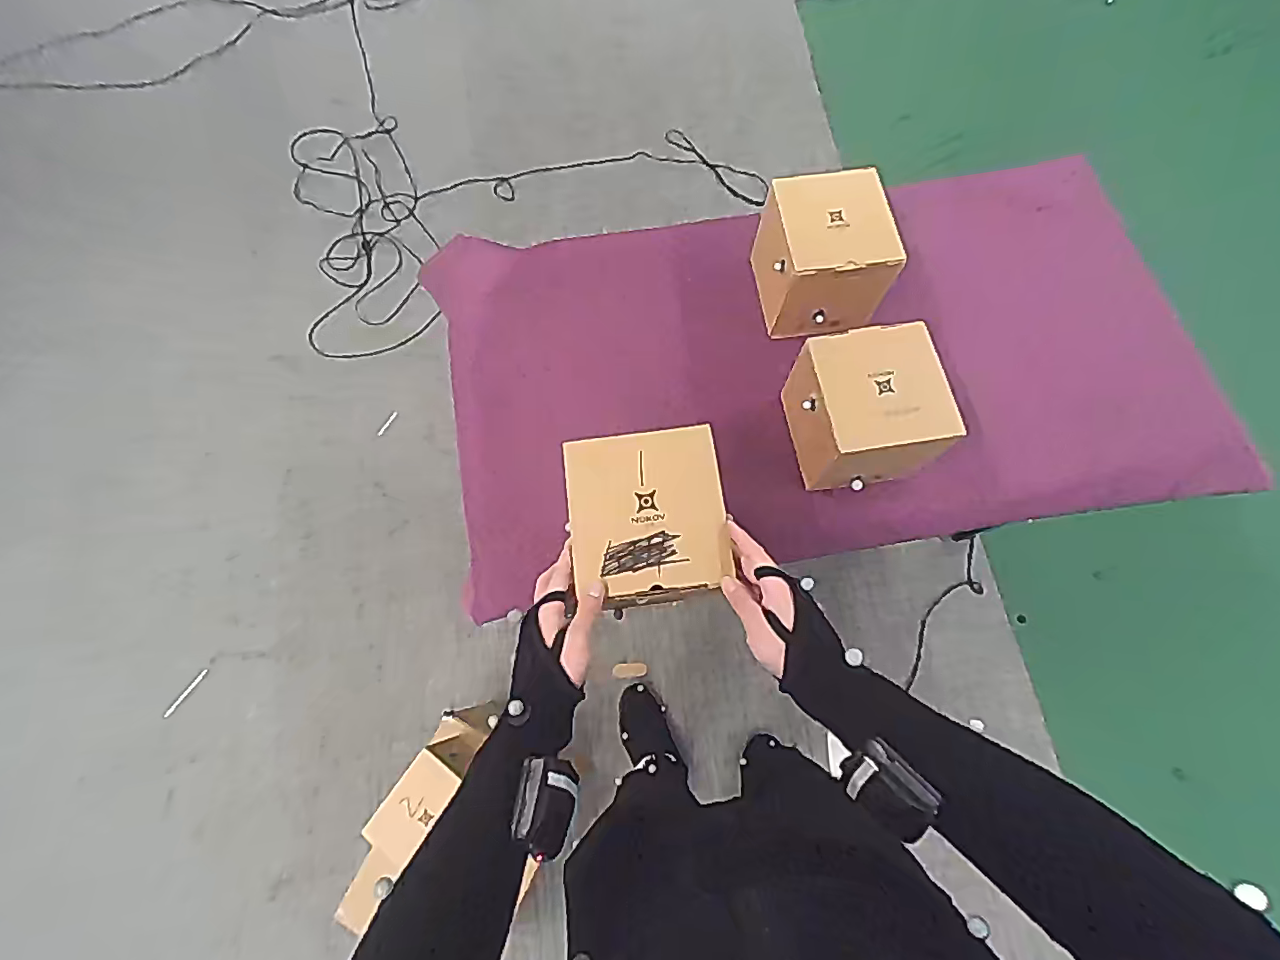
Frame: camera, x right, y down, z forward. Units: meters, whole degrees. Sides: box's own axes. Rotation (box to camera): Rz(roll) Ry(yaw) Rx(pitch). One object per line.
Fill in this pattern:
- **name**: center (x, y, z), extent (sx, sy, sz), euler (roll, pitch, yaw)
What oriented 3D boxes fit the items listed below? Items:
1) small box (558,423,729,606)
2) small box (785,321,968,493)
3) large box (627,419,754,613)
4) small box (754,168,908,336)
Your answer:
- **small box**: center (0.004, 0.052, 0.635), extent (0.168, 0.176, 0.179), euler (-7, 73, 0)
- **small box**: center (0.319, -0.097, 0.772), extent (0.168, 0.176, 0.179), euler (-8, 71, -1)
- **large box**: center (0.077, 0.106, 1.408), extent (0.320, 0.320, 0.408), euler (-9, 70, -2)
- **small box**: center (0.289, -0.356, 0.861), extent (0.168, 0.176, 0.179), euler (-7, 73, -2)
